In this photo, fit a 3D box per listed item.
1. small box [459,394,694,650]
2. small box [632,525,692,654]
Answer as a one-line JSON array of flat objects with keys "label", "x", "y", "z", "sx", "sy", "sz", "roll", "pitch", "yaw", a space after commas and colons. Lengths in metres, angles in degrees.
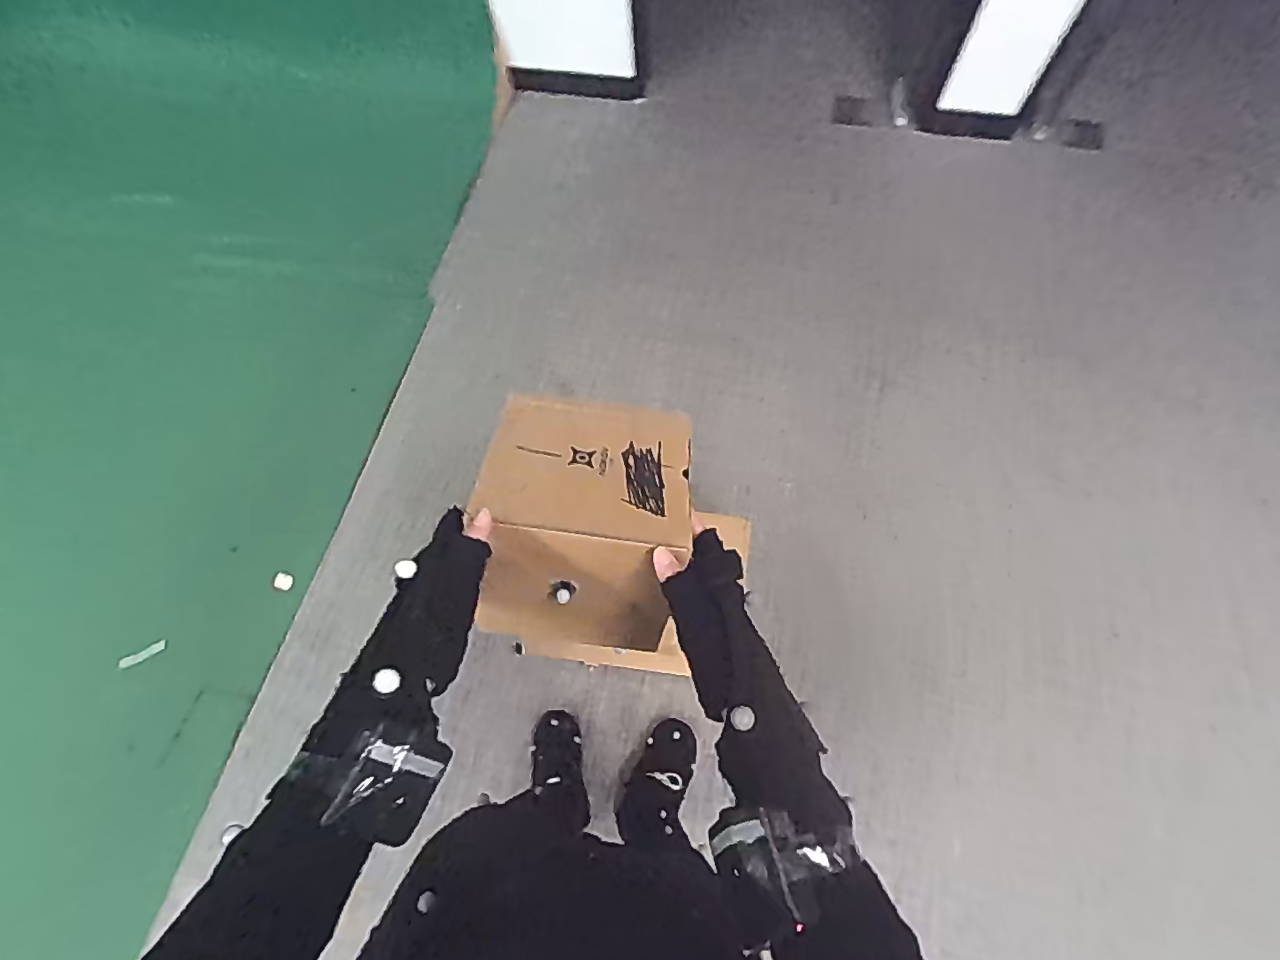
[{"label": "small box", "x": -0.057, "y": 0.045, "z": 0.508, "sx": 0.179, "sy": 0.176, "sz": 0.168, "roll": 6, "pitch": 46, "yaw": -7}, {"label": "small box", "x": -0.016, "y": 0.149, "z": 0.786, "sx": 0.168, "sy": 0.176, "sz": 0.179, "roll": 8, "pitch": 73, "yaw": 8}]
